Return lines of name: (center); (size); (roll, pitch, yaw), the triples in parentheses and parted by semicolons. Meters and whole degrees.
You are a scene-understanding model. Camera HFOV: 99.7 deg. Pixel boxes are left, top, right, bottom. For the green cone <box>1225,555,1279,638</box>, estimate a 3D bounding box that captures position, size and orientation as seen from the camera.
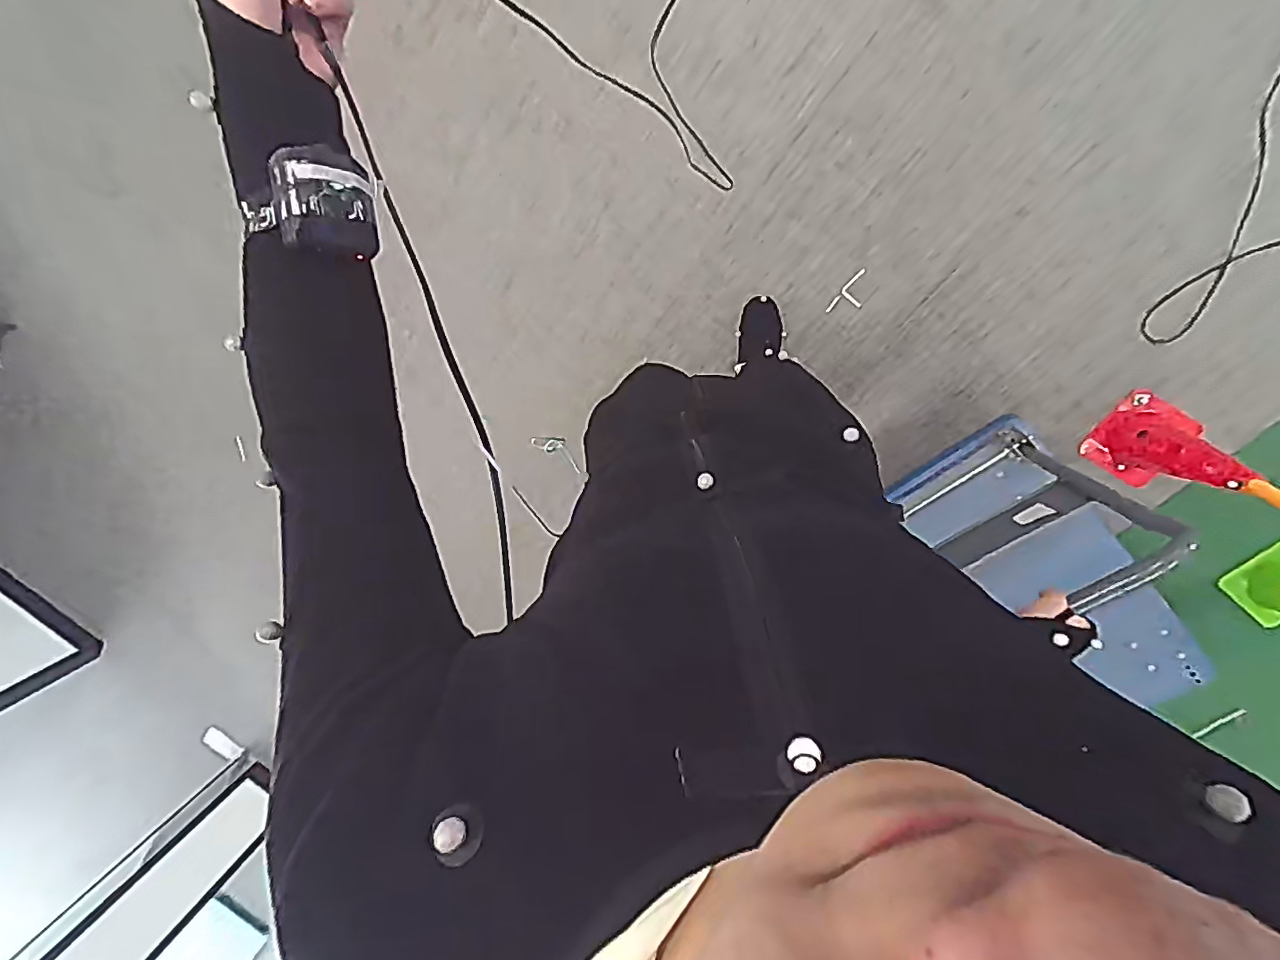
green cone: (1.619, 0.341, 1.222); (0.202, 0.368, 0.200); (39, 111, -3)
